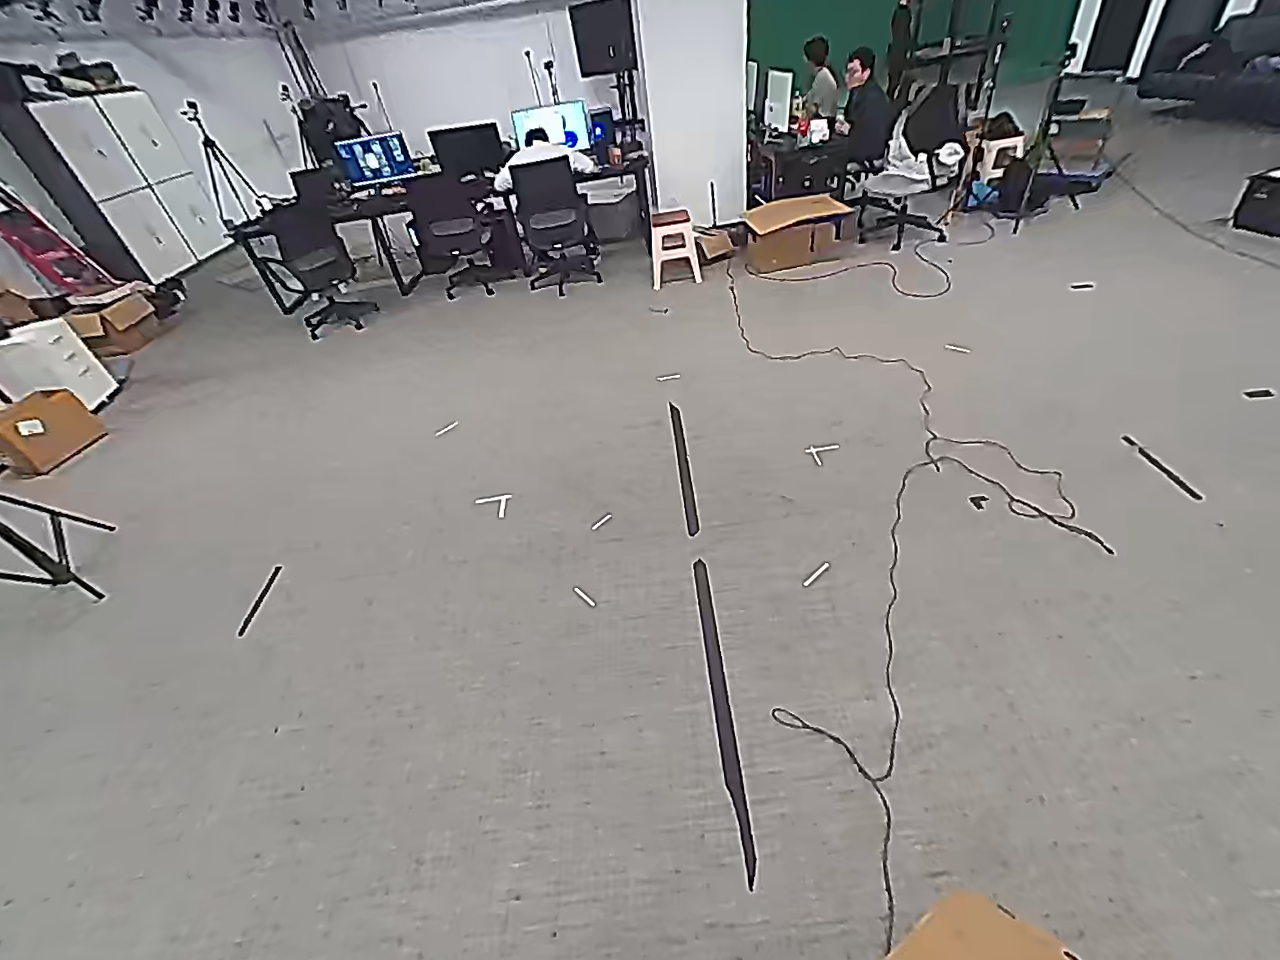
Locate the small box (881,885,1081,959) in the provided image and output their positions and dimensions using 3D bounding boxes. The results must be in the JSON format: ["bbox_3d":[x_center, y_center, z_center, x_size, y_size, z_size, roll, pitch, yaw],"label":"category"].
[{"bbox_3d":[0.294,0.475,0.406,0.179,0.168,0.176,-31,81,-12],"label":"small box"}]
